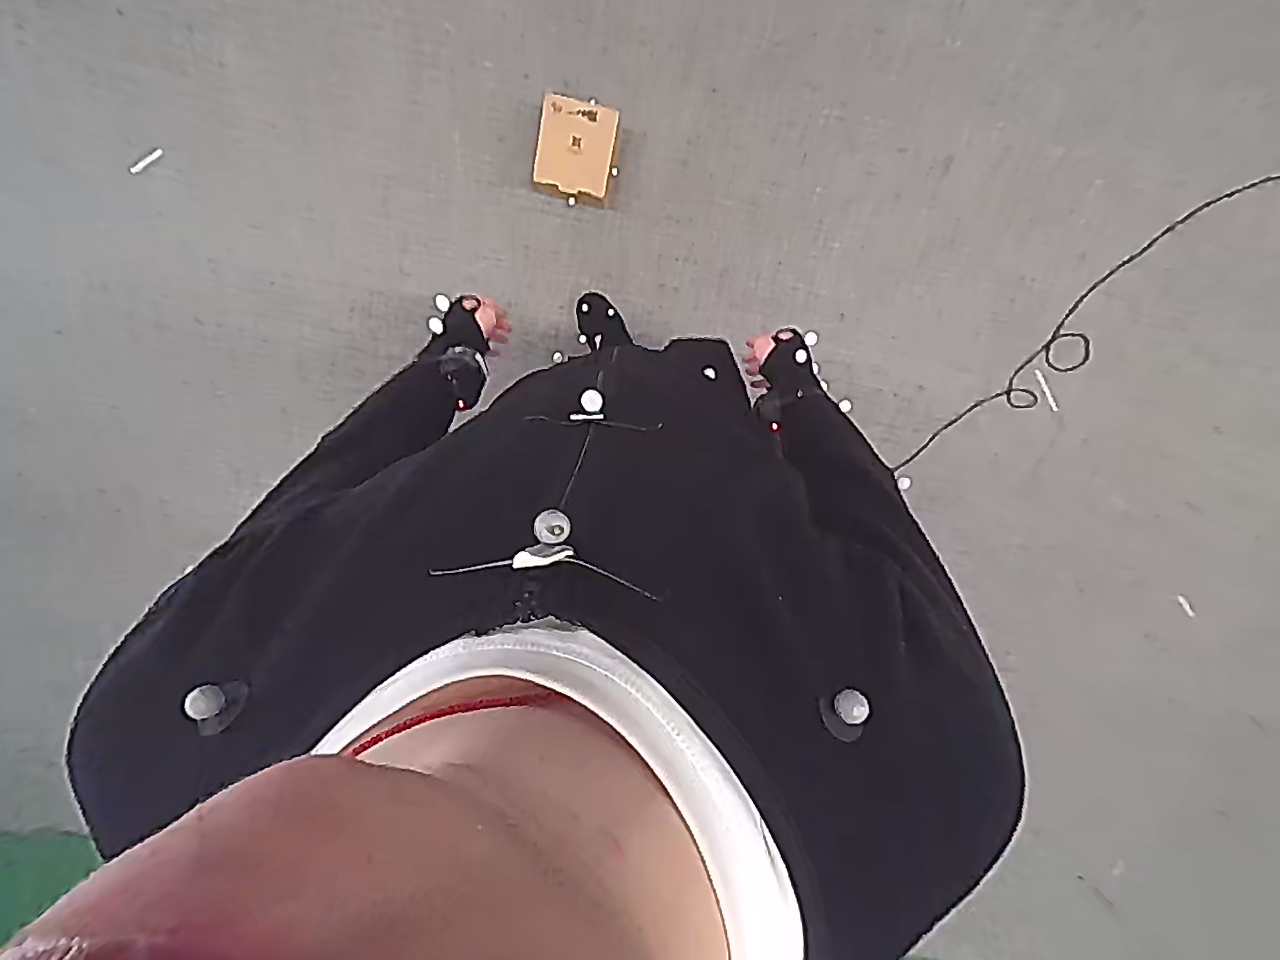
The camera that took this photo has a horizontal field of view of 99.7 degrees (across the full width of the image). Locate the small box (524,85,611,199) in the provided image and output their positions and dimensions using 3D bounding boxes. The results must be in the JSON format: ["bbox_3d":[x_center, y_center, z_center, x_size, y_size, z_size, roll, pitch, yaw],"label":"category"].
[{"bbox_3d":[-0.163,-0.776,1.265,0.168,0.176,0.179,10,107,-3],"label":"small box"}]
